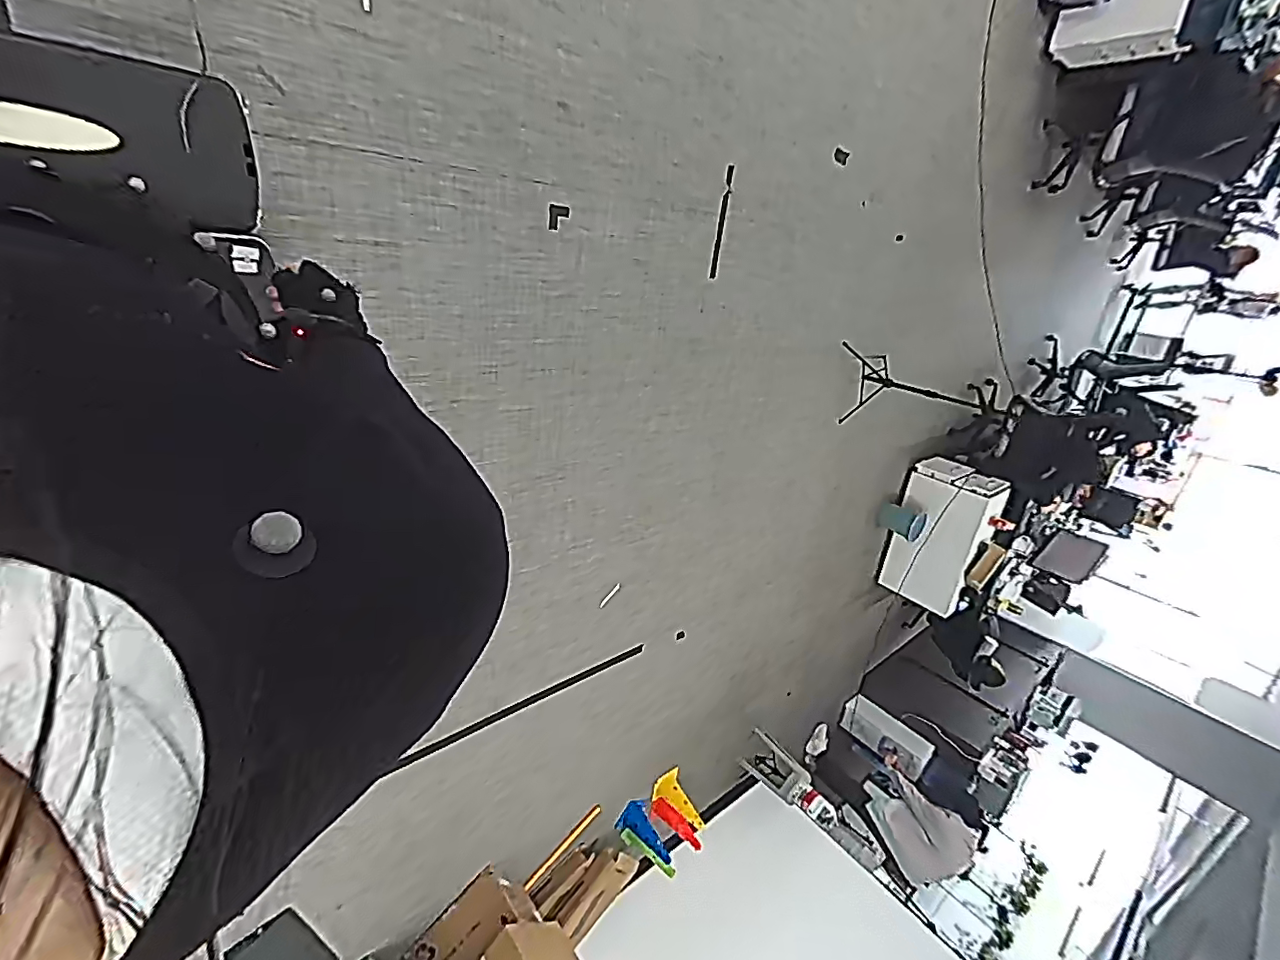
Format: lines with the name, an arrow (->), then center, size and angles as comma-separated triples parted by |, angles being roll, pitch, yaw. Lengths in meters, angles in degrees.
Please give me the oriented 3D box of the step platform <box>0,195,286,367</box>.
step platform -> -1.073, -0.372, 1.015 | 0.684, 0.204, 0.286 | -13, 119, -37
